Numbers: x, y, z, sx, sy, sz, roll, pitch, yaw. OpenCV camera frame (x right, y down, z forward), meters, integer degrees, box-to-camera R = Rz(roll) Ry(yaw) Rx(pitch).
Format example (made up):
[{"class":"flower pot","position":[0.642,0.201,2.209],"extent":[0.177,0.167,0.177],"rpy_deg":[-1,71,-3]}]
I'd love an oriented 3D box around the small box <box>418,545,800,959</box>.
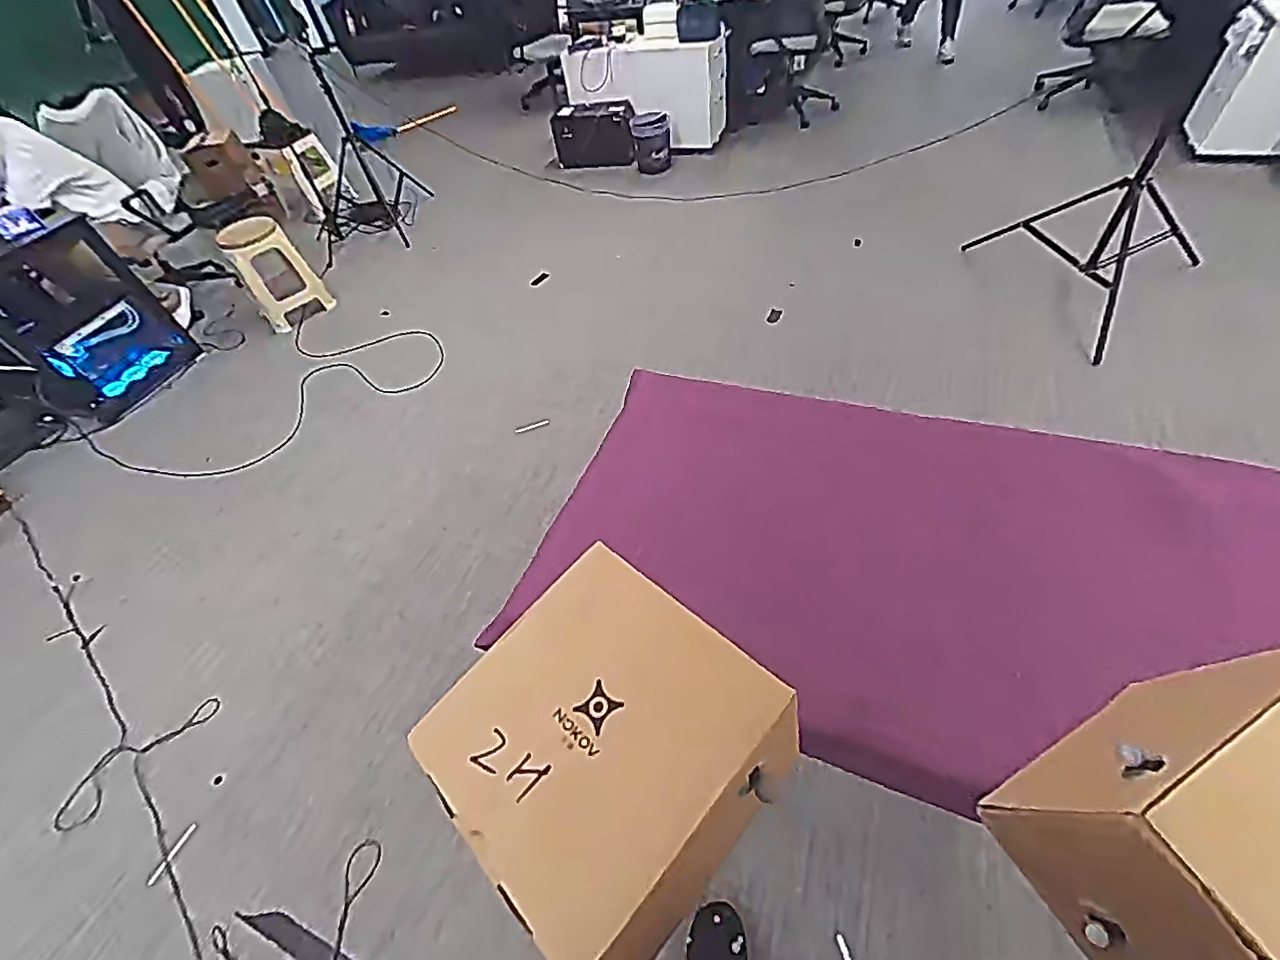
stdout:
[{"class":"small box","position":[-0.008,0.185,0.379],"extent":[0.168,0.176,0.179],"rpy_deg":[32,69,34]}]

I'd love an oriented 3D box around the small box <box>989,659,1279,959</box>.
[{"class":"small box","position":[0.353,0.219,0.308],"extent":[0.179,0.176,0.168],"rpy_deg":[-28,62,-11]}]
